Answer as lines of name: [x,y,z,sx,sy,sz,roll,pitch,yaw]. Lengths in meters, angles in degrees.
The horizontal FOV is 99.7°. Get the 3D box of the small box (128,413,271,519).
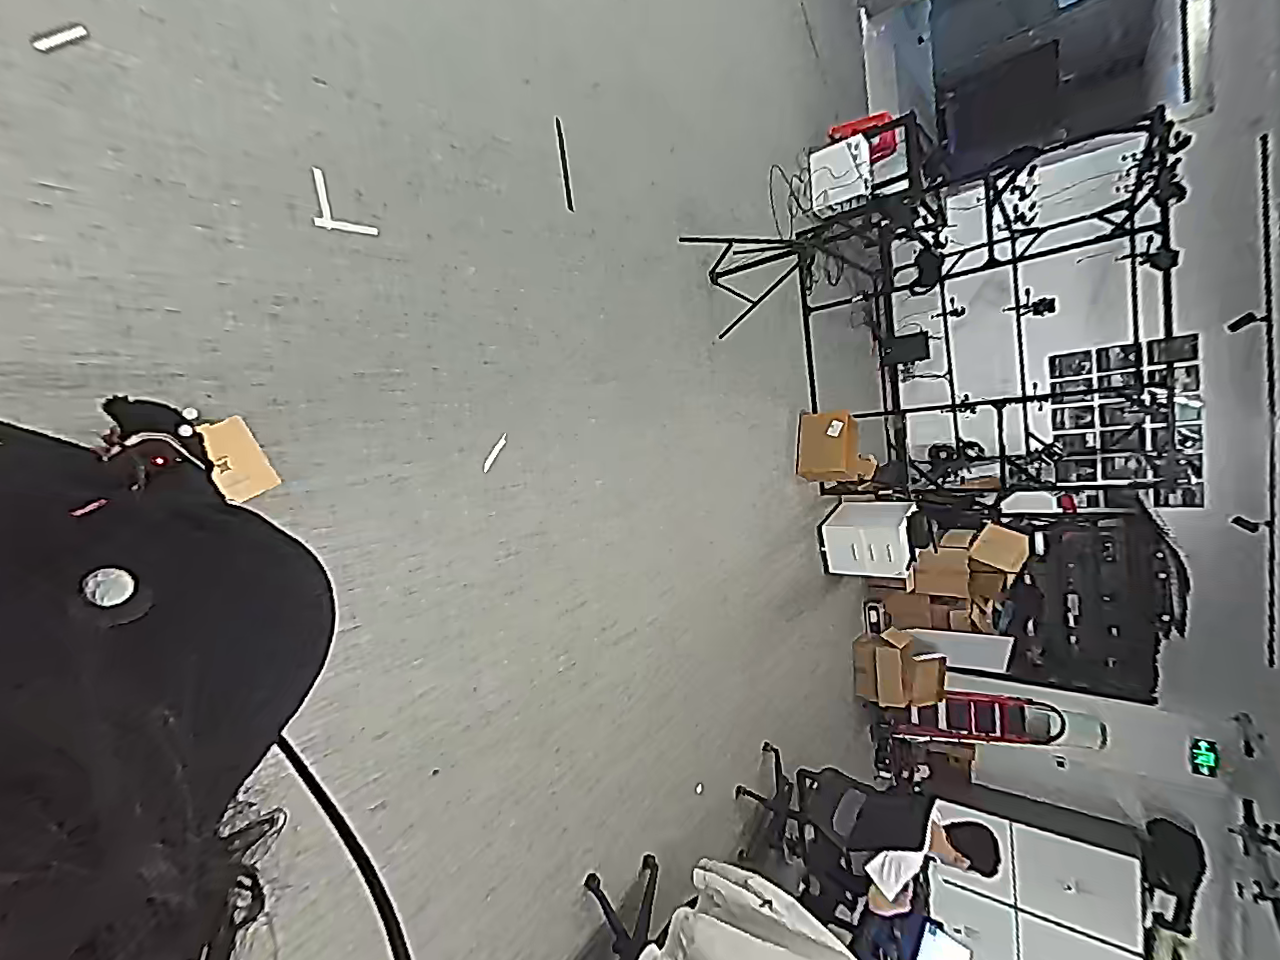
small box: [-0.964,-0.028,1.182,0.168,0.176,0.179,-41,120,-44]
